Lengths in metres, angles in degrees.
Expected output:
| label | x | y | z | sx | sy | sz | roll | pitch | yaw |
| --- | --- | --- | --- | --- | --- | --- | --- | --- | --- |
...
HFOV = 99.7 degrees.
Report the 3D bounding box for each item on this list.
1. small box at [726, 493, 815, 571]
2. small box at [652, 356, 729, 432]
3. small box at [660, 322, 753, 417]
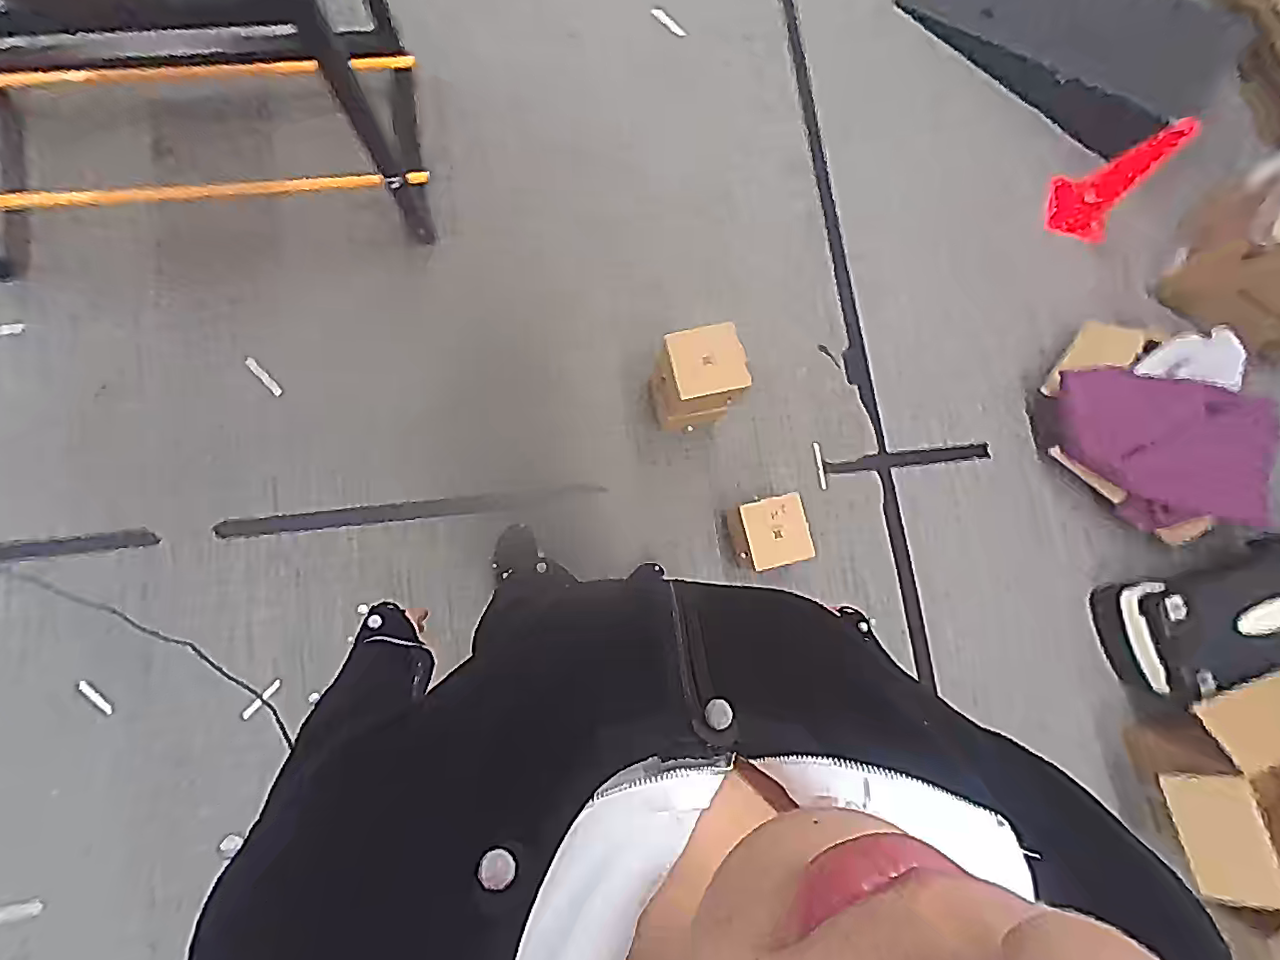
| label | x | y | z | sx | sy | sz | roll | pitch | yaw |
| --- | --- | --- | --- | --- | --- | --- | --- | --- | --- |
| small box | 0.348 | 0.142 | 1.471 | 0.168 | 0.176 | 0.179 | -13 | 84 | -6 |
| small box | 0.134 | -0.244 | 1.504 | 0.168 | 0.176 | 0.179 | -10 | 84 | -6 |
| small box | 0.157 | -0.268 | 1.344 | 0.179 | 0.176 | 0.168 | -13 | 82 | -5 |
